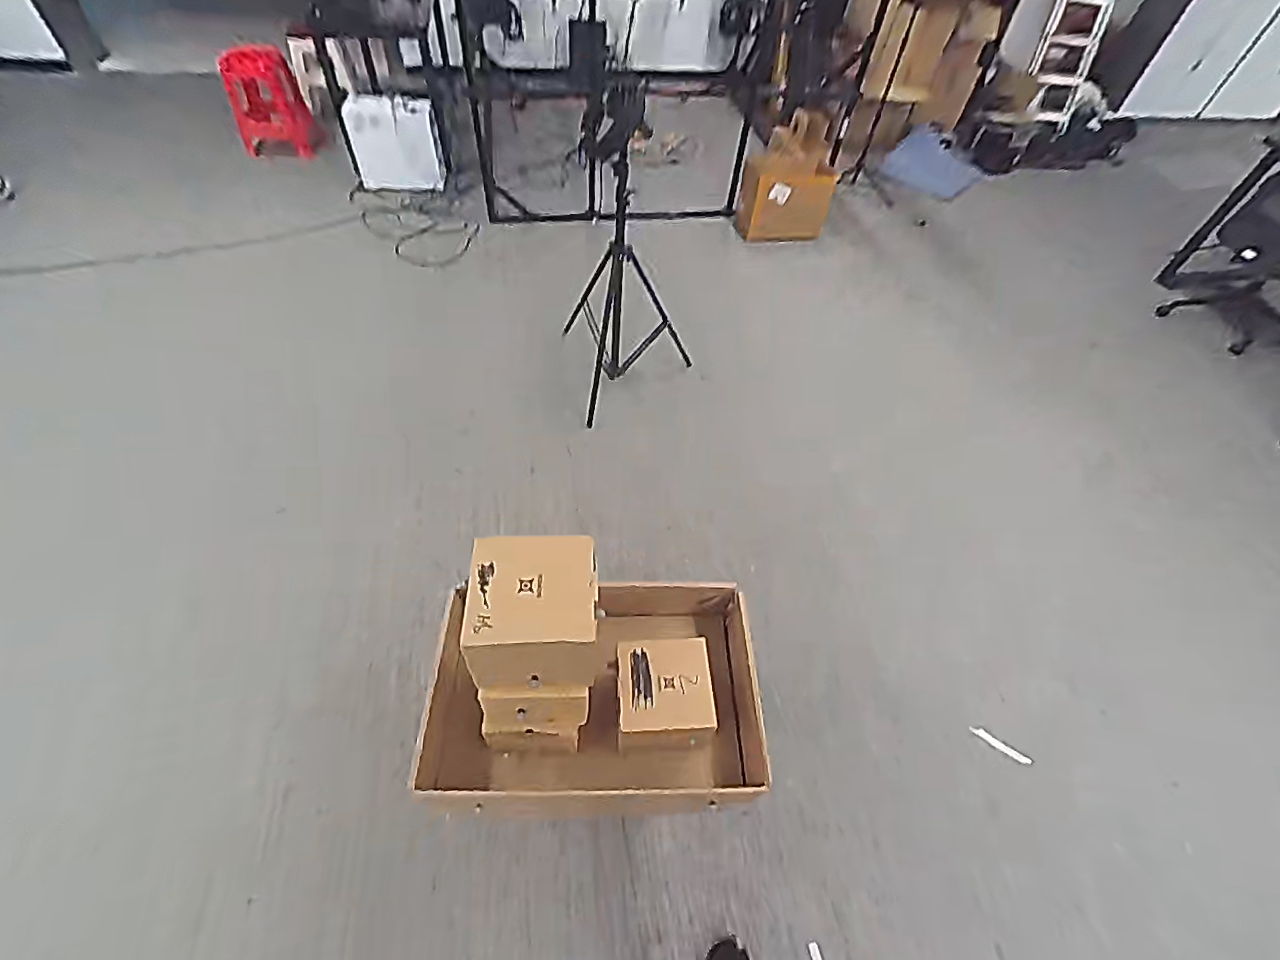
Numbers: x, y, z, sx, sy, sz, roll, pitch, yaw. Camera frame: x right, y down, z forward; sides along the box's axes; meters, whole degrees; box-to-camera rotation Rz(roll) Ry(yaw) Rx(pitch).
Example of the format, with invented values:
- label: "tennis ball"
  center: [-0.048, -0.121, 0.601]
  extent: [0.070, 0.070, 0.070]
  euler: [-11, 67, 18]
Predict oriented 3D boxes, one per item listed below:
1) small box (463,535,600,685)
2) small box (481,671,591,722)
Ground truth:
- label: "small box"
  center: [-0.152, 0.197, 0.808]
  extent: [0.179, 0.176, 0.168]
  euler: [1, 50, -7]
- label: "small box"
  center: [-0.167, 0.307, 0.928]
  extent: [0.168, 0.176, 0.179]
  euler: [2, 51, -6]
